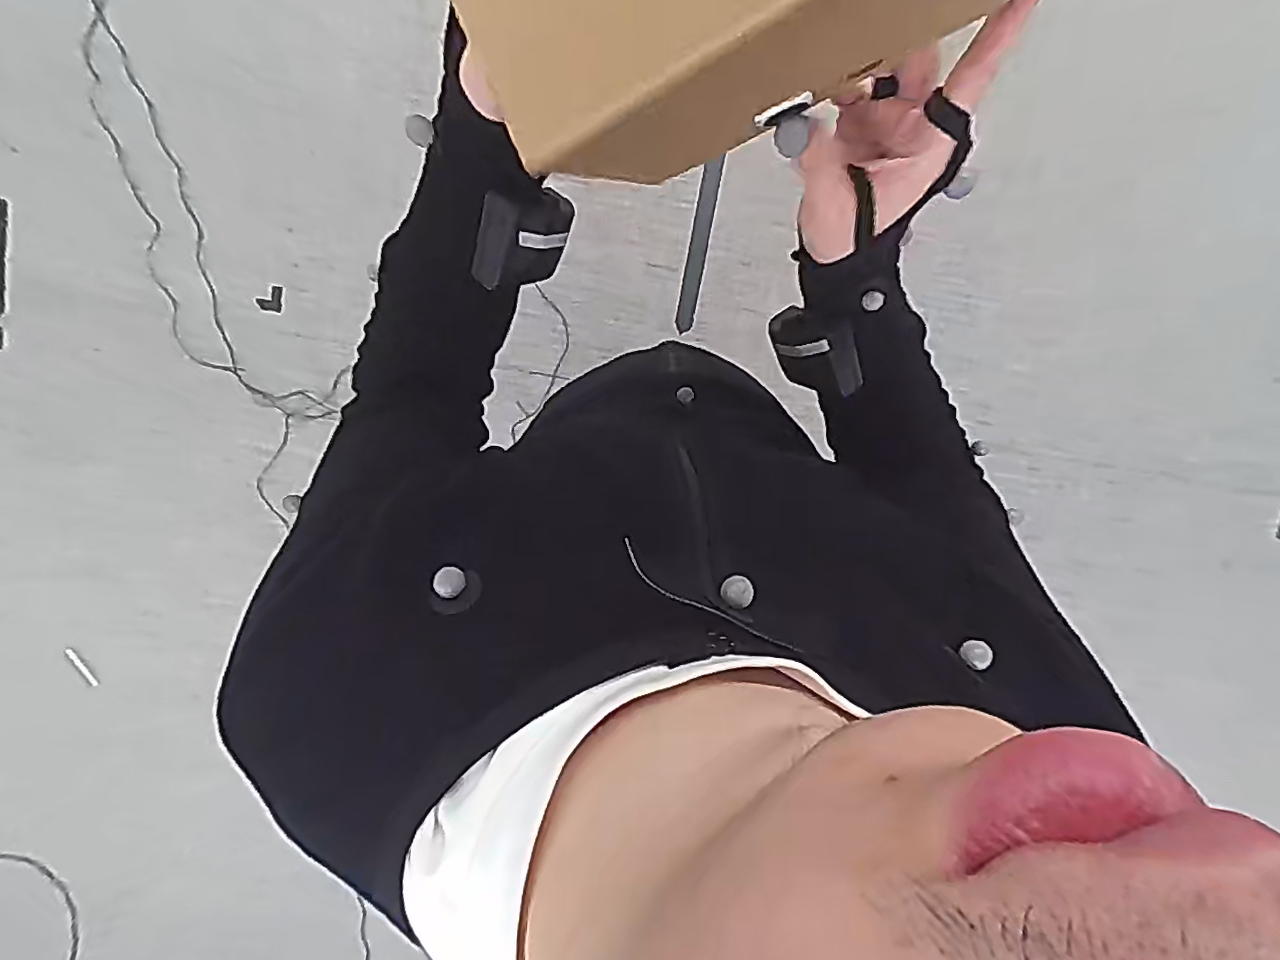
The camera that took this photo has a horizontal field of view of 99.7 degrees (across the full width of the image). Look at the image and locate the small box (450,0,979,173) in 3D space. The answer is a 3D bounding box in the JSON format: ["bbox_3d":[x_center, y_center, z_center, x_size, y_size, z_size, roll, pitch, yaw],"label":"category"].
[{"bbox_3d":[0.024,-0.226,0.175,0.168,0.176,0.179,-17,111,26],"label":"small box"}]
